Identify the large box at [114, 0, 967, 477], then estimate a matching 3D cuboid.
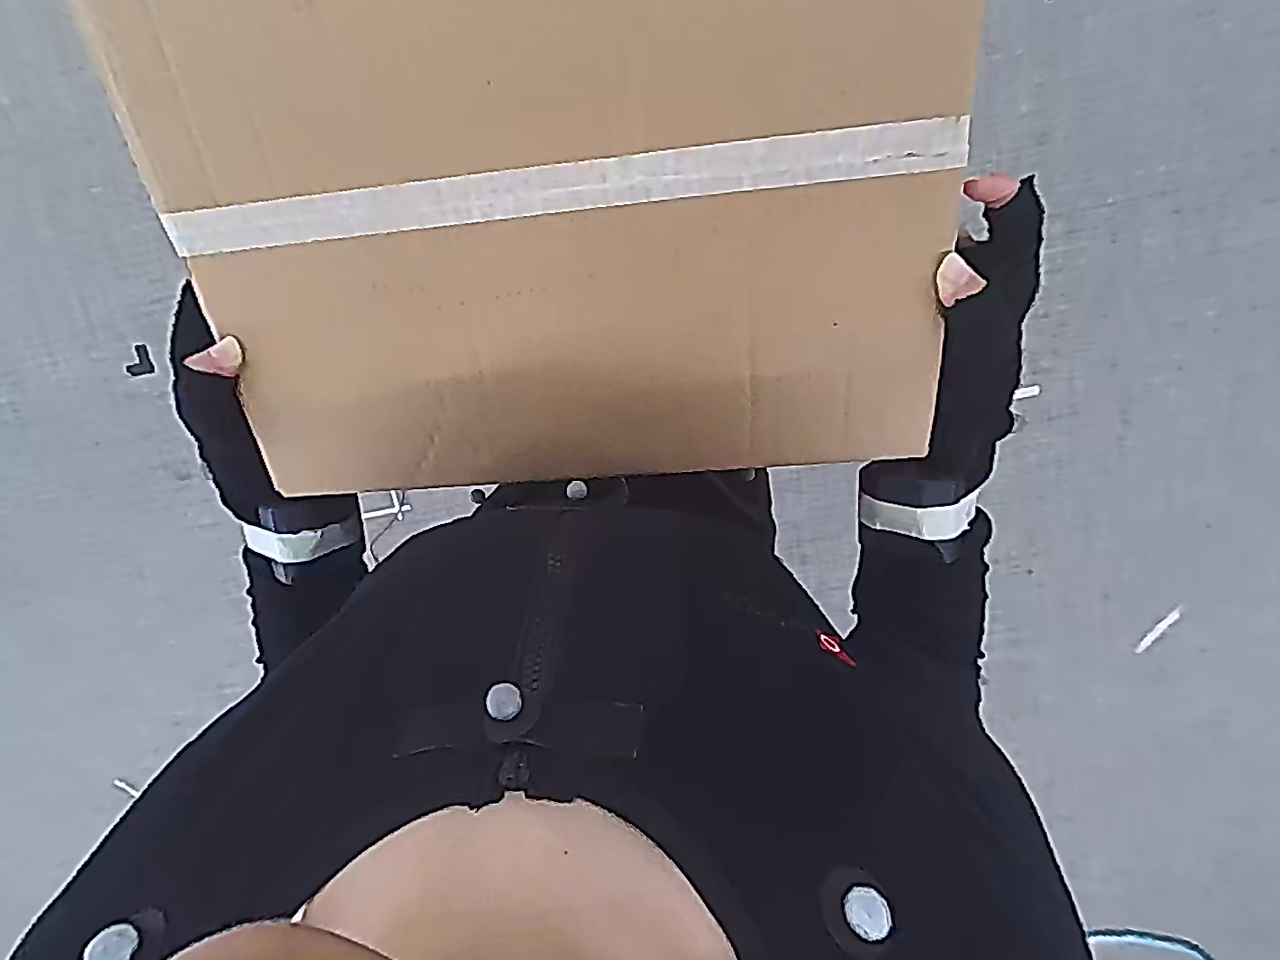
[{"bbox_3d":[-0.039,-0.215,0.416,0.408,0.320,0.320,-4,115,5],"label":"large box"}]
